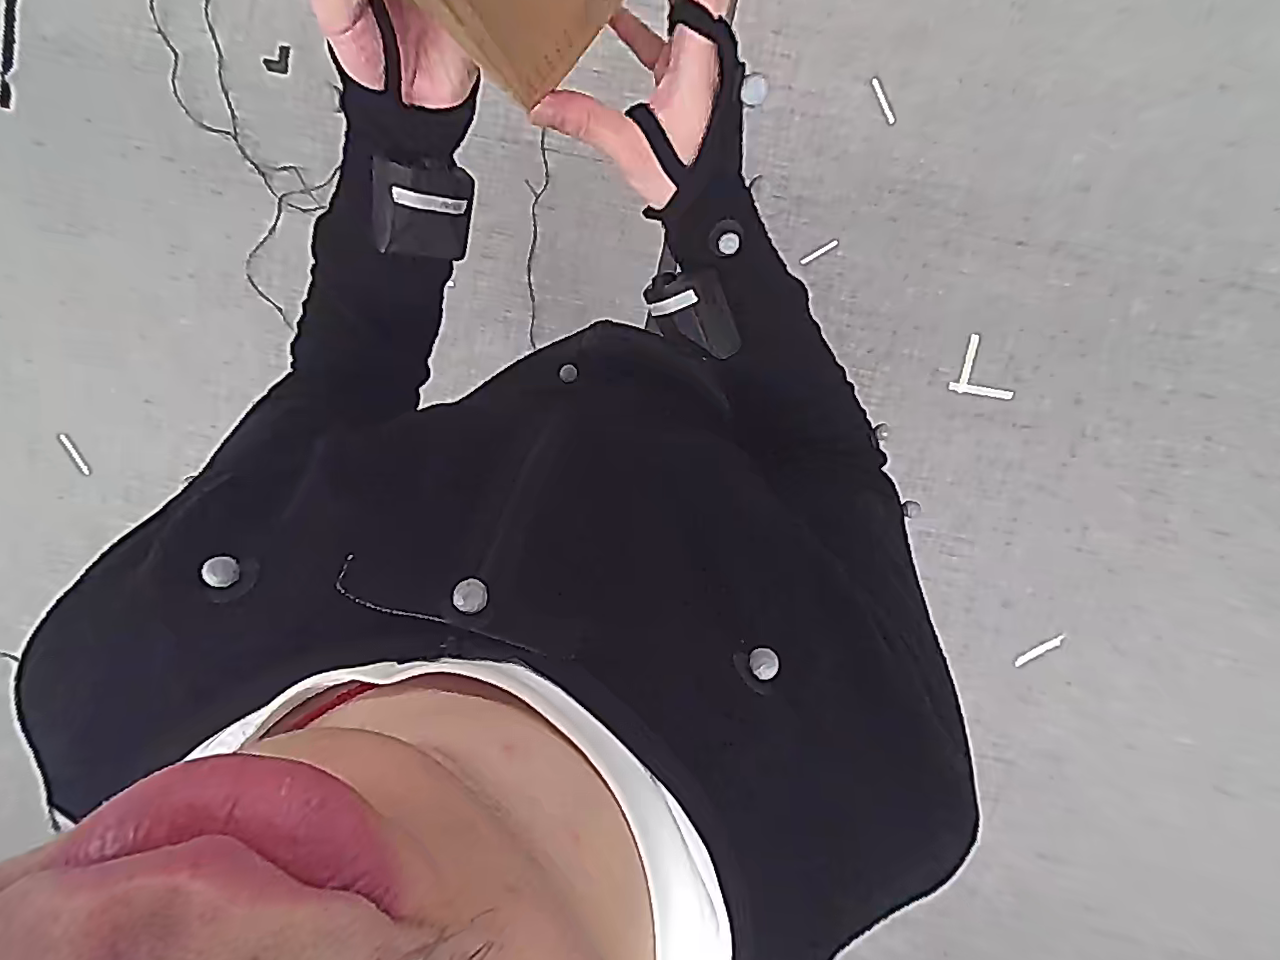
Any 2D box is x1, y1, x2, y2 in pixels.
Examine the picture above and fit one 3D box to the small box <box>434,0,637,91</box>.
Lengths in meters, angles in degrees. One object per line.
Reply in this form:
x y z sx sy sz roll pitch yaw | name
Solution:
-0.063 -0.283 0.178 0.179 0.176 0.168 42 106 -8 | small box
